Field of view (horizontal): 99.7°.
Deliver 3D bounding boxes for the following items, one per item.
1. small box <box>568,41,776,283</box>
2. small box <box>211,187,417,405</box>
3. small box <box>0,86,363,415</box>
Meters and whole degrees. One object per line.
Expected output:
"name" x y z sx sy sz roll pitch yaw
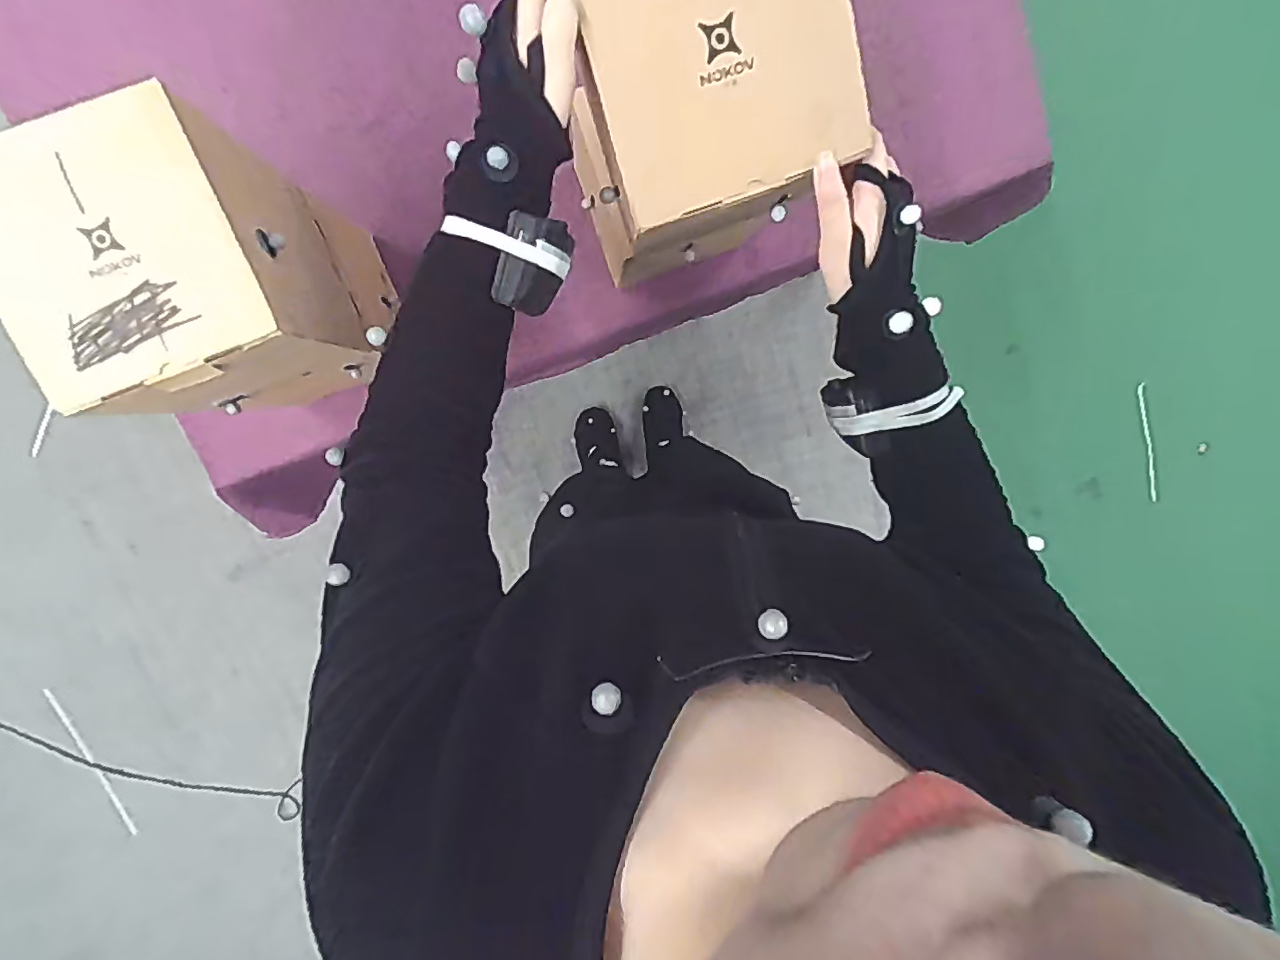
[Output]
"small box" 0.029 -0.343 0.623 0.179 0.176 0.168 -20 101 -2
"small box" -0.384 -0.188 0.607 0.179 0.176 0.168 -21 101 -3
"small box" -0.366 -0.165 0.446 0.168 0.176 0.179 -22 99 -3
